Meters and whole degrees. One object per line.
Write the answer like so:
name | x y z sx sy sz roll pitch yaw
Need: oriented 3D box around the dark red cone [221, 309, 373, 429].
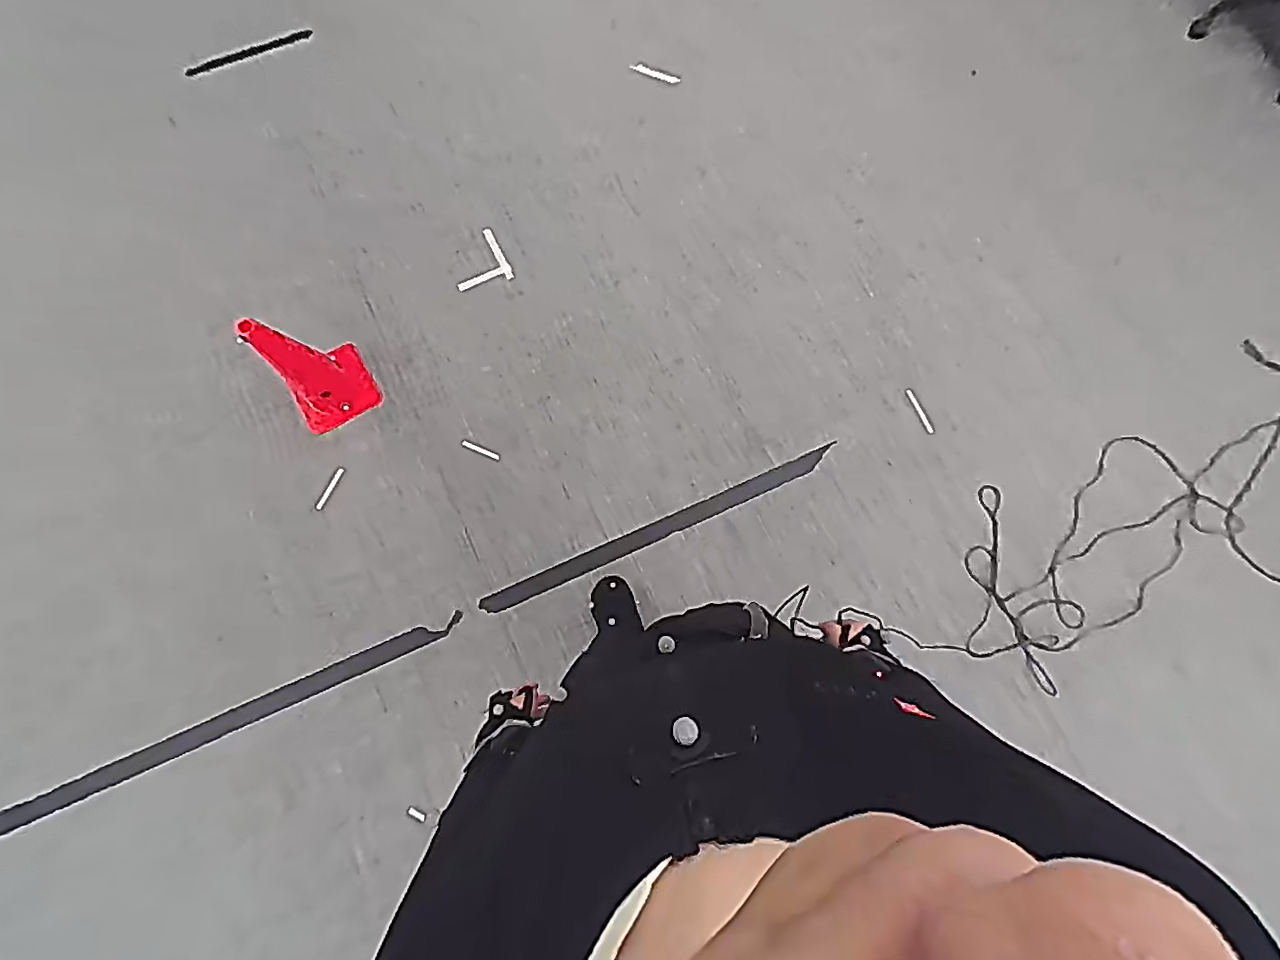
dark red cone | -0.810 -0.280 1.240 0.202 0.394 0.201 -32 83 -8
